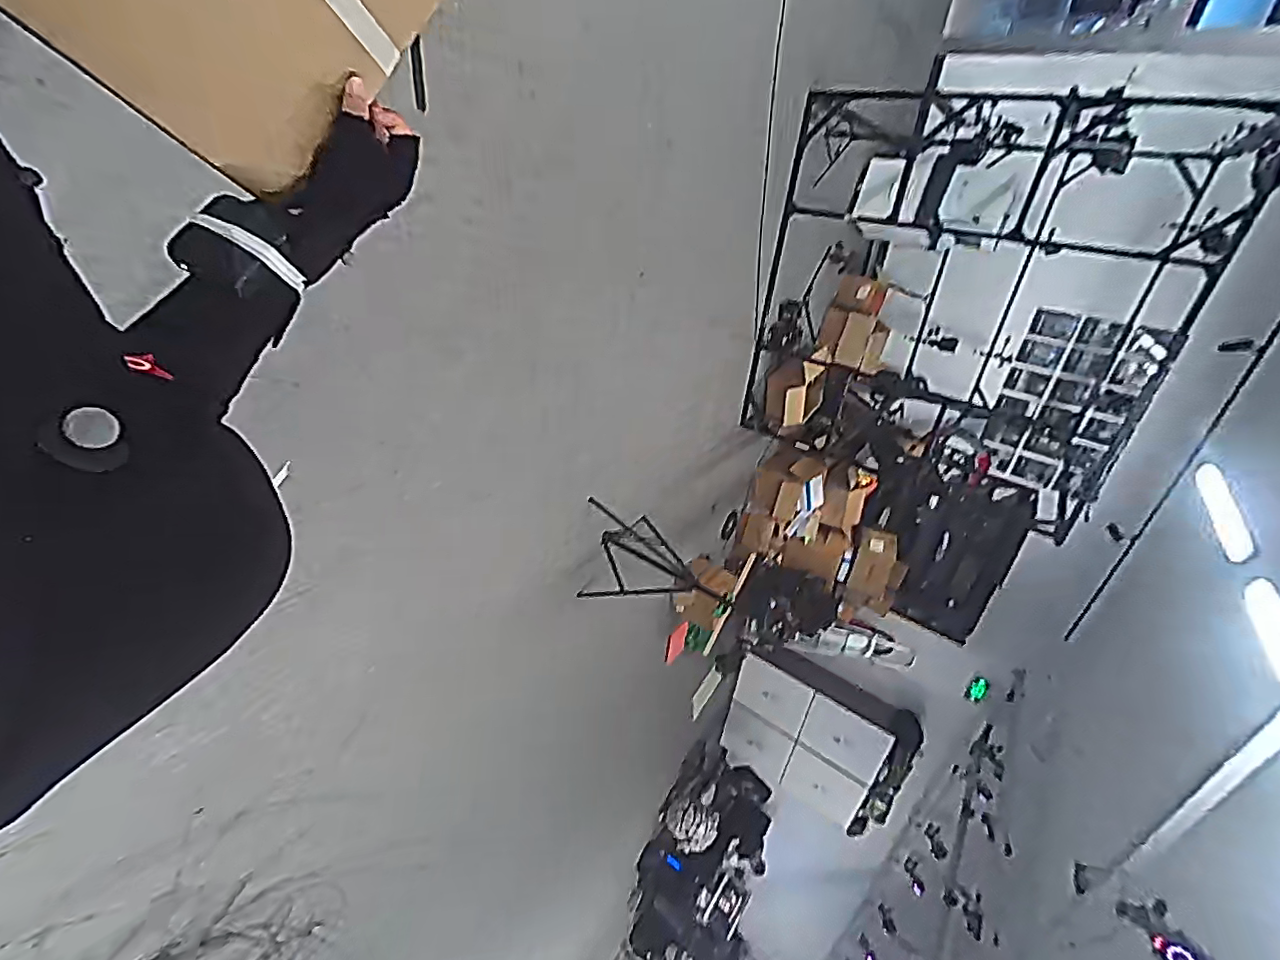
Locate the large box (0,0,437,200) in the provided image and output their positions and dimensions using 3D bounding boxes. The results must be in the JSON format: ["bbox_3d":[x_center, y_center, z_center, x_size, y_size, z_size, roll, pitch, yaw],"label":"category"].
[{"bbox_3d":[-0.397,-0.490,0.358,0.320,0.320,0.408,-53,153,0],"label":"large box"}]
